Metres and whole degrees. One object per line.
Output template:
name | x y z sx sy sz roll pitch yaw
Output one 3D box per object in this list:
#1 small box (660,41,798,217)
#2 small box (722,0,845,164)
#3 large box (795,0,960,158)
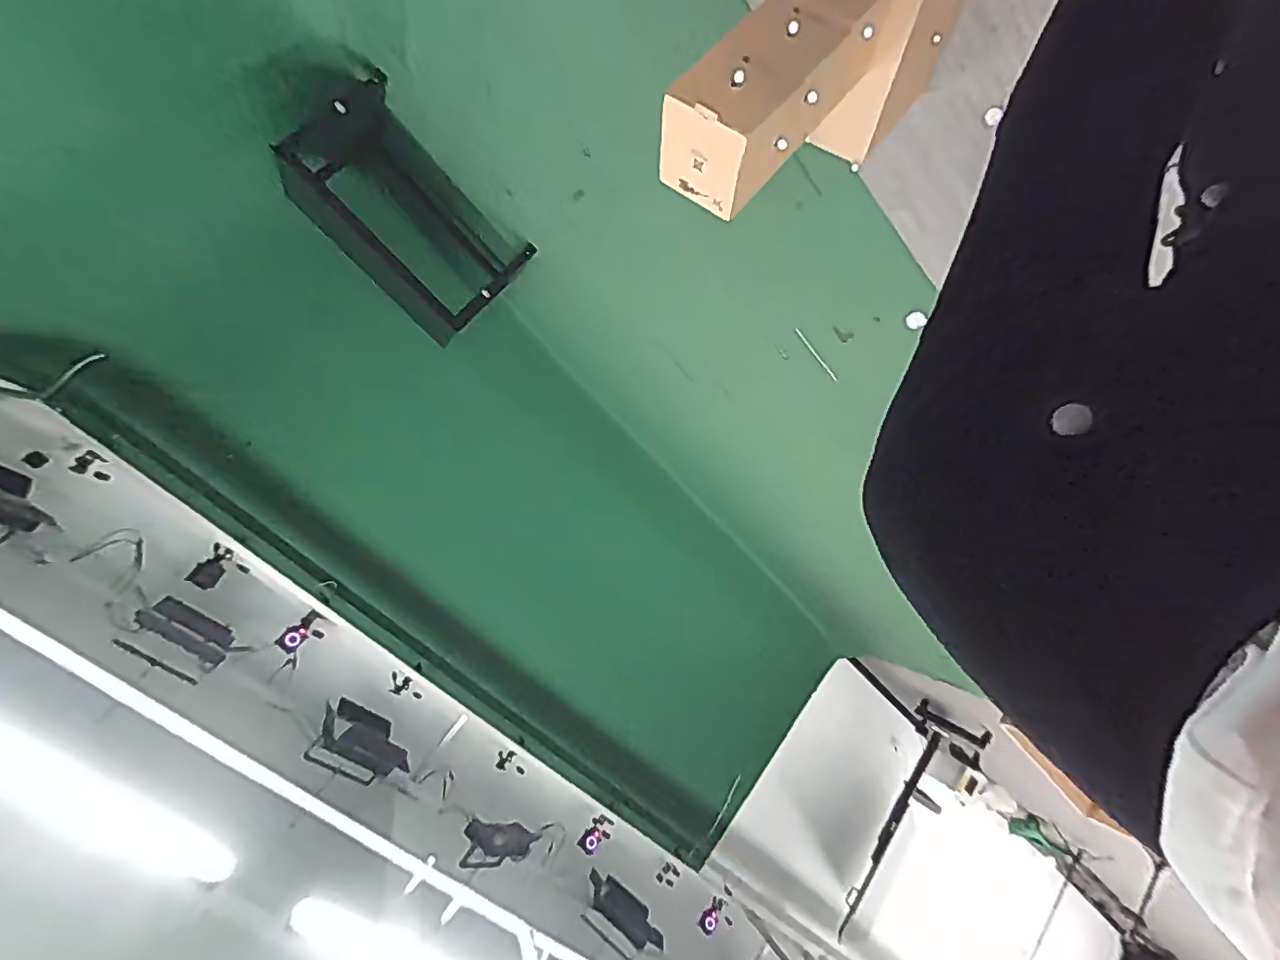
small box | 0.156 -0.626 0.966 0.168 0.176 0.179 37 164 11
small box | 0.254 -0.750 1.011 0.168 0.176 0.179 37 165 11
large box | 0.500 -1.037 1.187 0.320 0.320 0.408 37 166 16
